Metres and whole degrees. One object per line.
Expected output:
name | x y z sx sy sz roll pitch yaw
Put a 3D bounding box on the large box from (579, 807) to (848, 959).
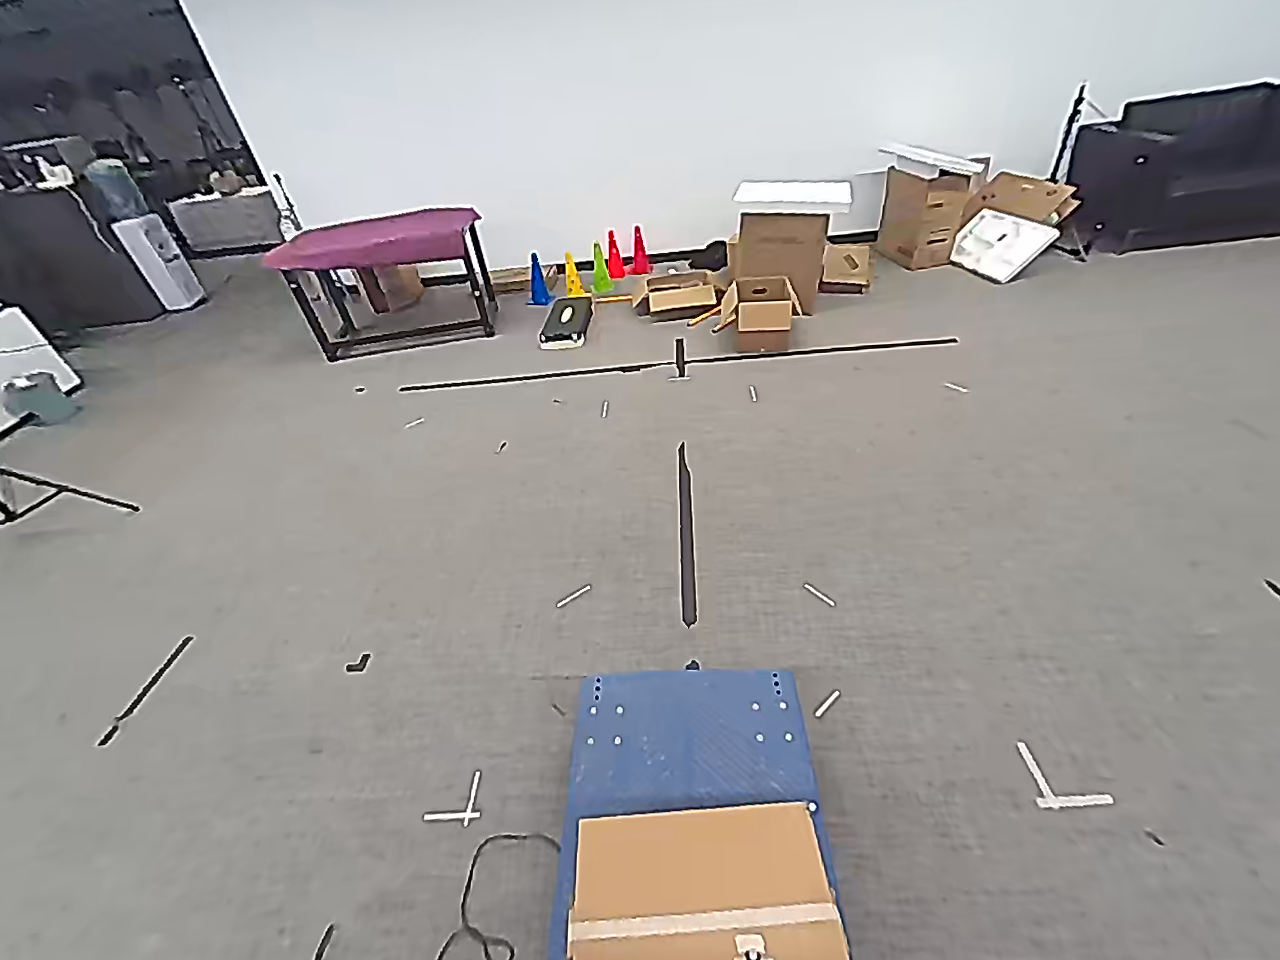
large box | 0.115 0.802 0.920 0.408 0.320 0.320 -5 39 1
